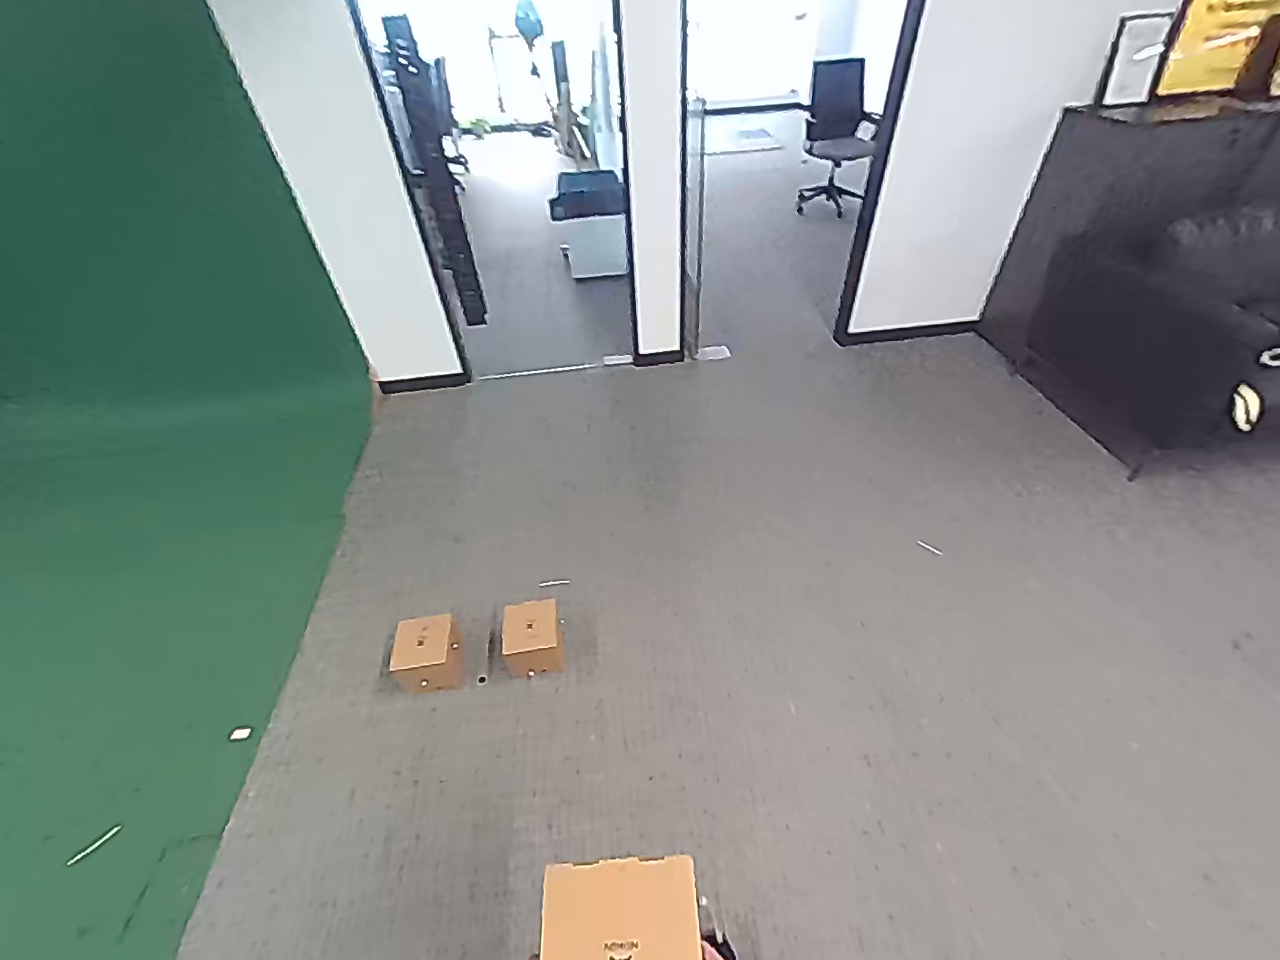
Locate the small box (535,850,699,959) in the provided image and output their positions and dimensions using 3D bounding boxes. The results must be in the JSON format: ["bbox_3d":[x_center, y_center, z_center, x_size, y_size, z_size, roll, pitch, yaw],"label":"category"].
[{"bbox_3d":[-0.020,0.530,0.591,0.168,0.176,0.179,-2,44,-1],"label":"small box"}]

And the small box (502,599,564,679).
[{"bbox_3d":[-0.340,0.510,1.732,0.168,0.176,0.179,-8,44,-3],"label":"small box"}]

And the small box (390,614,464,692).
[{"bbox_3d":[-0.664,0.553,1.707,0.168,0.176,0.179,-7,43,-4],"label":"small box"}]
